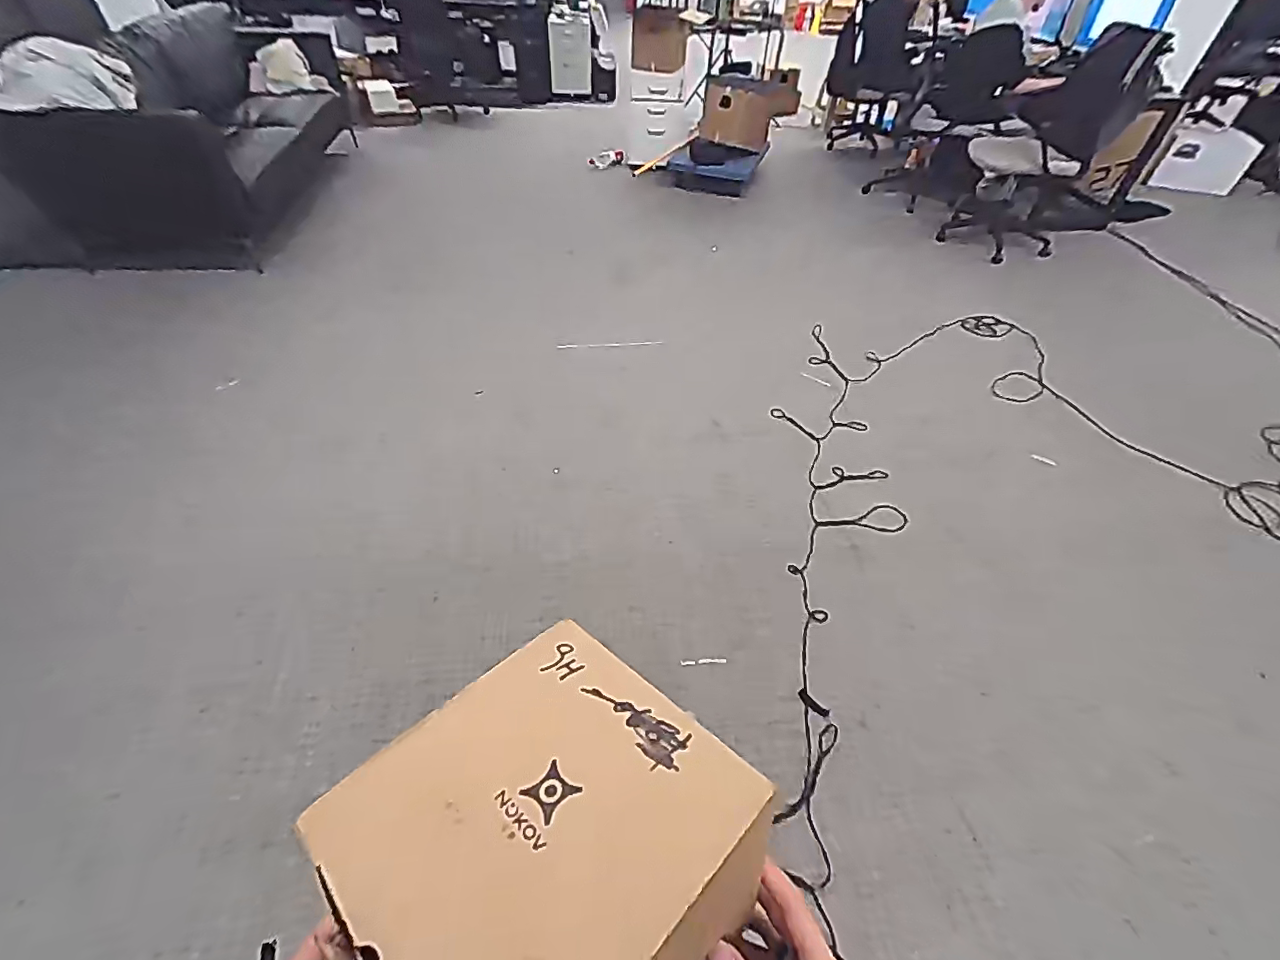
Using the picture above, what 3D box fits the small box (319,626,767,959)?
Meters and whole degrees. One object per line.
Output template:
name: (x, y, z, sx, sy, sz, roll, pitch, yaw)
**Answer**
small box: (-0.044, 0.232, 0.321, 0.168, 0.176, 0.179, 27, 44, 36)
